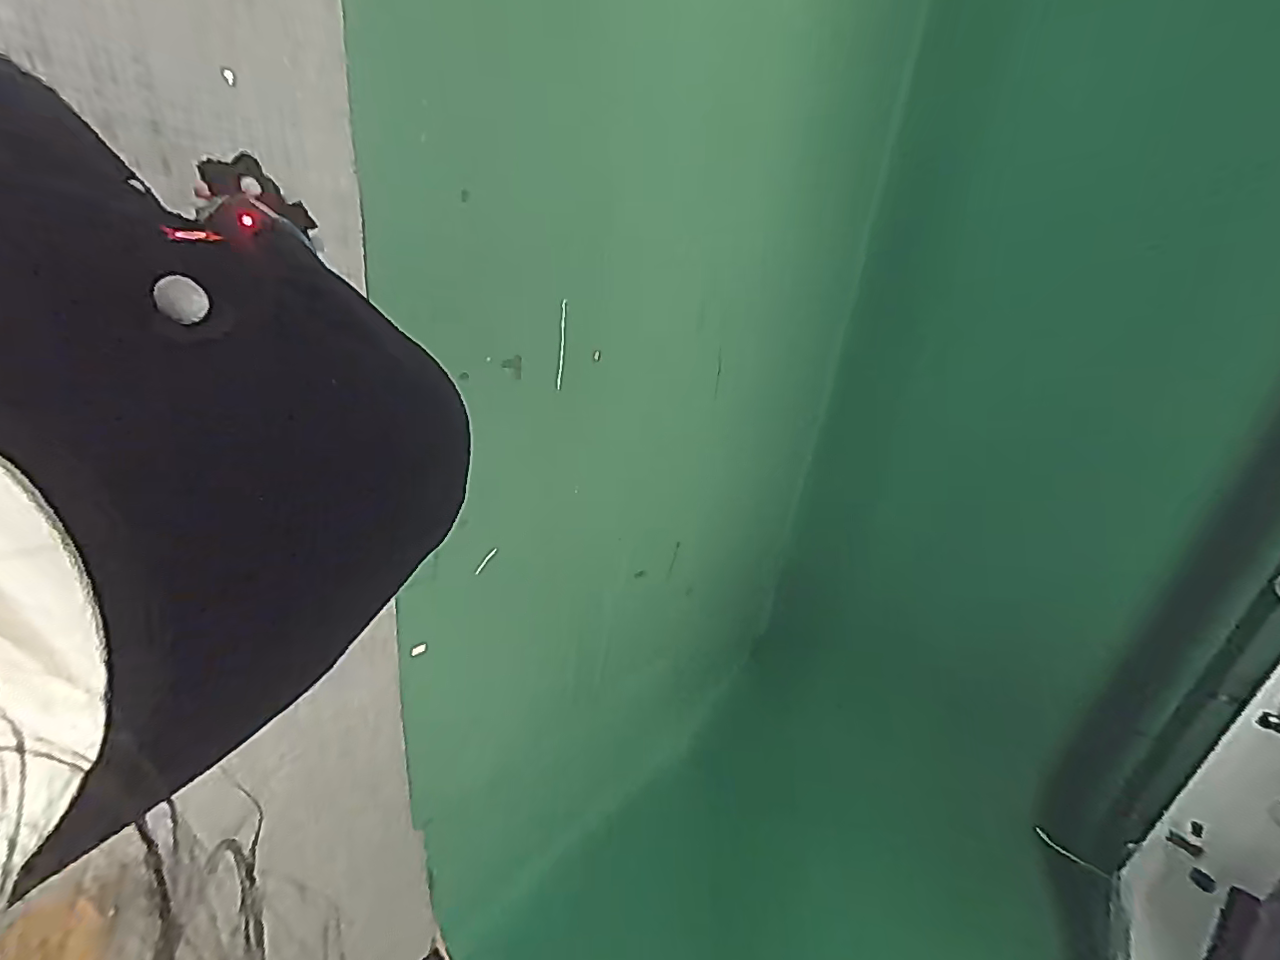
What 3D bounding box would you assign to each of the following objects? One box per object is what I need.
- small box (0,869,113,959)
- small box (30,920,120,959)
[{"bbox_3d":[-1.390,1.095,1.288,0.179,0.176,0.168,-13,123,-49],"label":"small box"},{"bbox_3d":[-1.271,1.148,1.194,0.179,0.176,0.168,-15,122,-47],"label":"small box"}]
